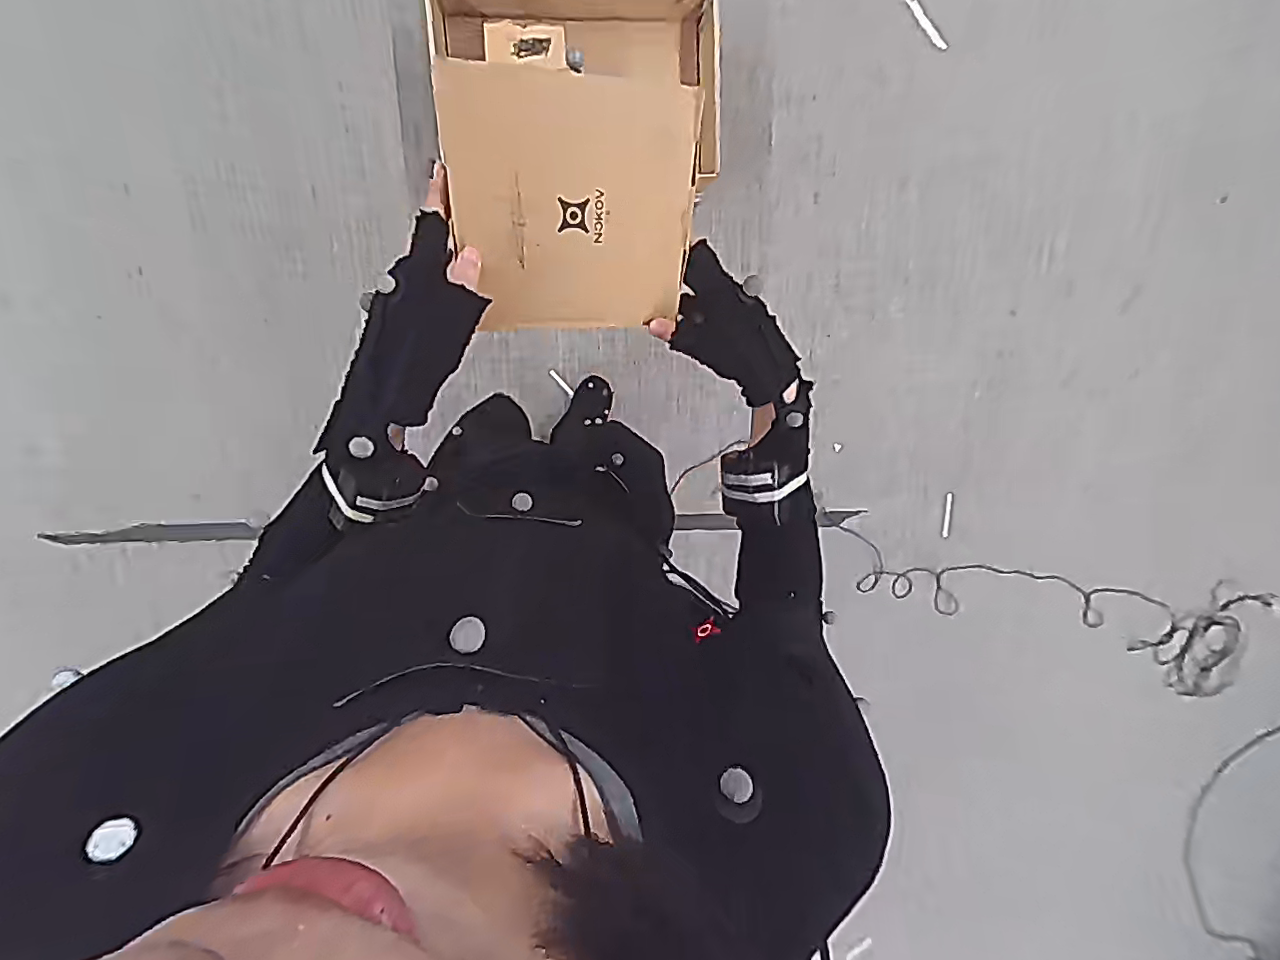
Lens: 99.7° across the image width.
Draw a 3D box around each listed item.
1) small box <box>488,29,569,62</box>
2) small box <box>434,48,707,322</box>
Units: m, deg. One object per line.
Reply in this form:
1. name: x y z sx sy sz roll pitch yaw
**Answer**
1. small box: -0.242 -0.857 1.209 0.168 0.176 0.179 -3 102 -7
2. small box: -0.067 -0.239 0.447 0.179 0.176 0.168 -7 125 -17
